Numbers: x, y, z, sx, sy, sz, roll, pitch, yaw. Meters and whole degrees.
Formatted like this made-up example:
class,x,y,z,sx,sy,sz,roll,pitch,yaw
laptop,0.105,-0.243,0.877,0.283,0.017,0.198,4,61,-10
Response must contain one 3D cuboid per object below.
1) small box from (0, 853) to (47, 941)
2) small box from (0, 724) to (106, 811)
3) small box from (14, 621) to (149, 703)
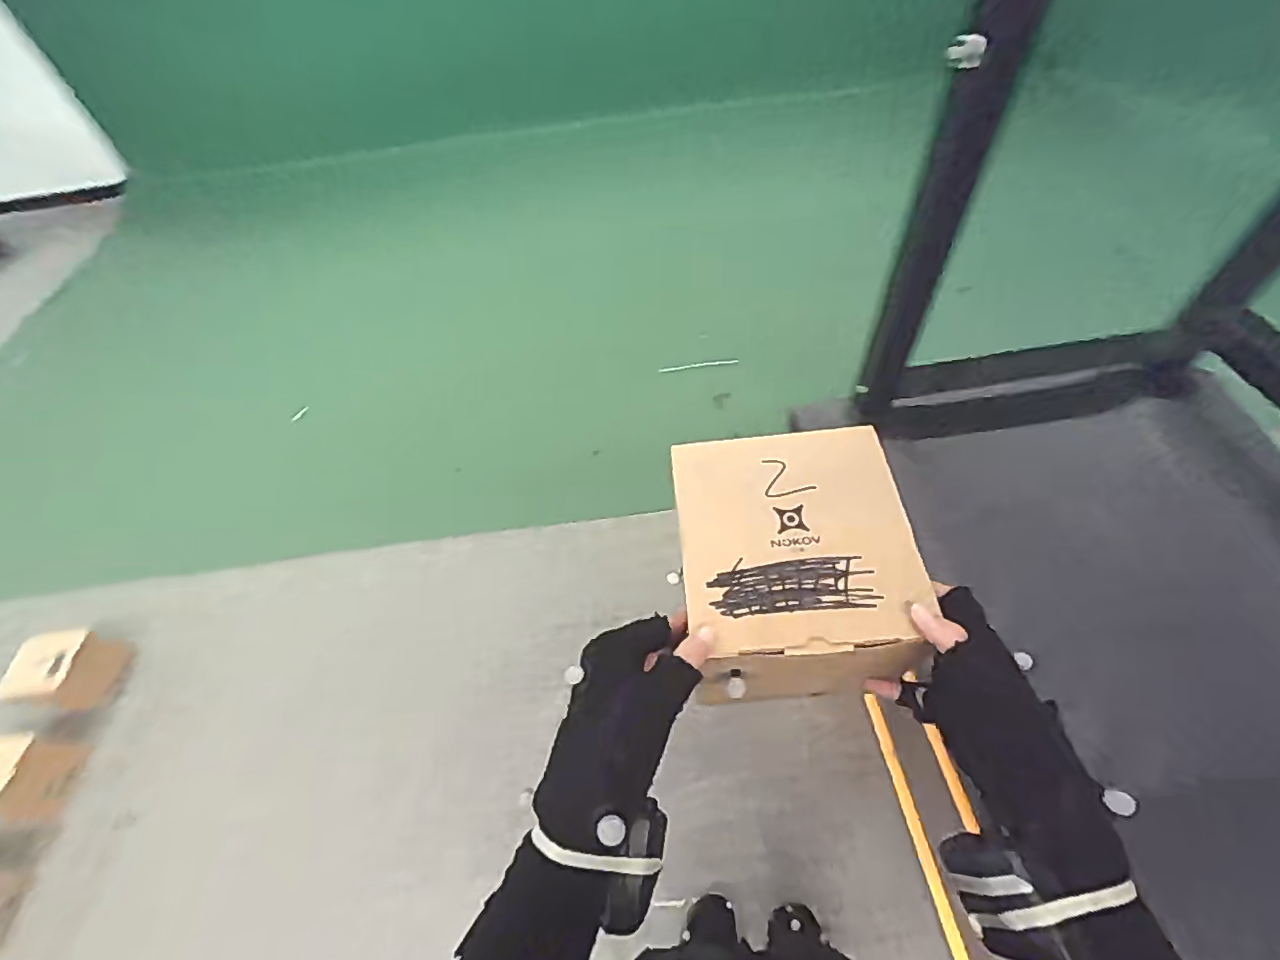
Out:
class,x,y,z,sx,sy,sz,roll,pitch,yaw
small box,-1.525,0.944,1.209,0.179,0.176,0.168,-7,54,1
small box,-1.548,0.733,1.374,0.179,0.176,0.168,-6,52,2
small box,-1.570,0.520,1.536,0.179,0.176,0.168,-9,53,1
